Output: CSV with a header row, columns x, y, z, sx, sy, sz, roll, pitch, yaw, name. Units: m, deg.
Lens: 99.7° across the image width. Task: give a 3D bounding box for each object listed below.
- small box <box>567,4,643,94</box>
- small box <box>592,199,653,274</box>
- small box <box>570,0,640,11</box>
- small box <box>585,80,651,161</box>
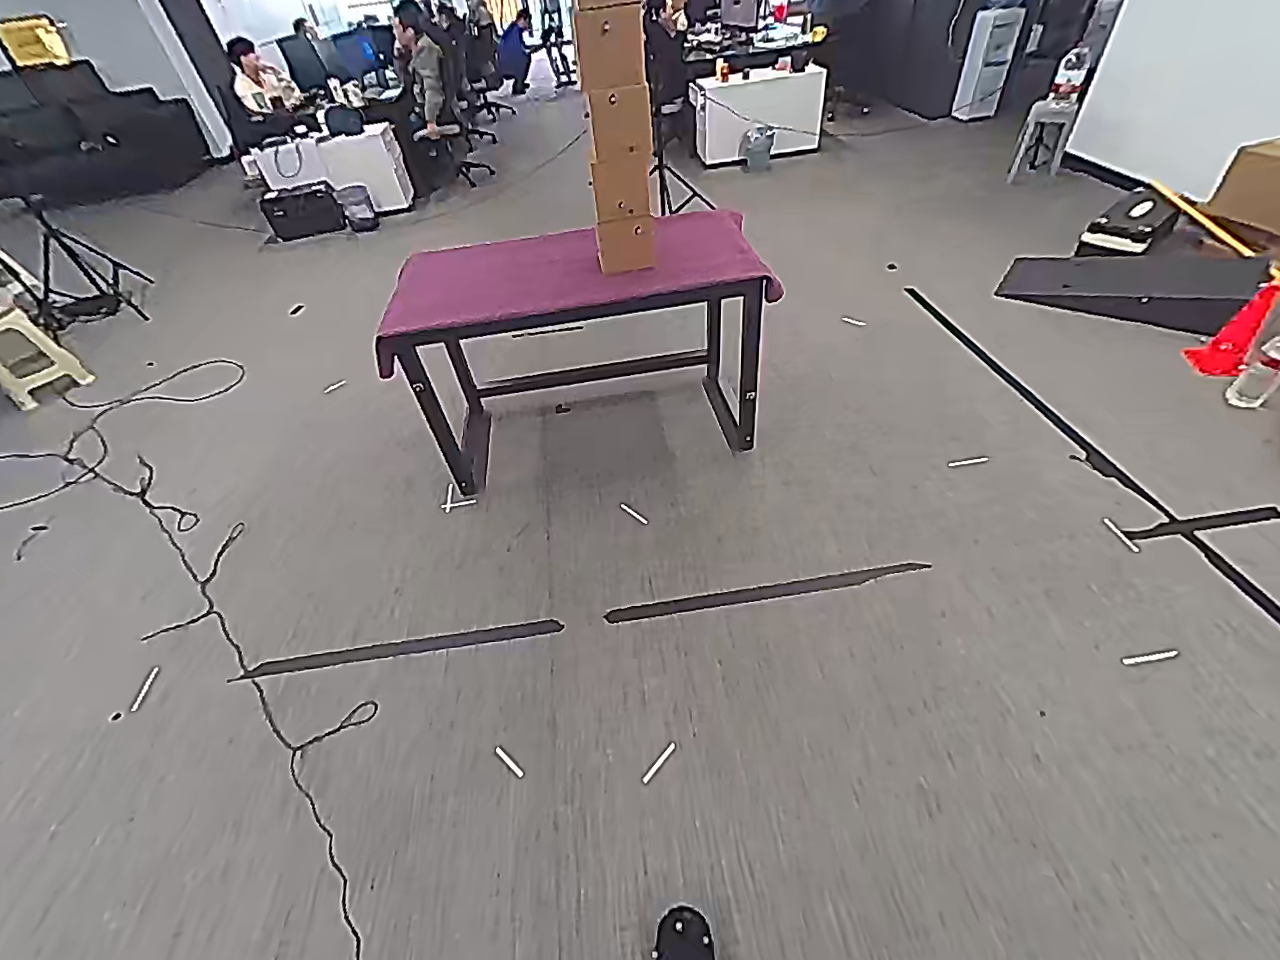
x,y,z,sx,sy,sz,roll,pitch,yaw,name
-0.089,-1.154,1.441,0.179,0.176,0.168,-11,45,-3,small box
-0.054,-0.798,1.776,0.179,0.176,0.168,-11,44,-2,small box
-0.096,-1.272,1.330,0.168,0.176,0.179,-11,44,-5,small box
-0.066,-1.032,1.547,0.168,0.176,0.179,-10,44,-3,small box
